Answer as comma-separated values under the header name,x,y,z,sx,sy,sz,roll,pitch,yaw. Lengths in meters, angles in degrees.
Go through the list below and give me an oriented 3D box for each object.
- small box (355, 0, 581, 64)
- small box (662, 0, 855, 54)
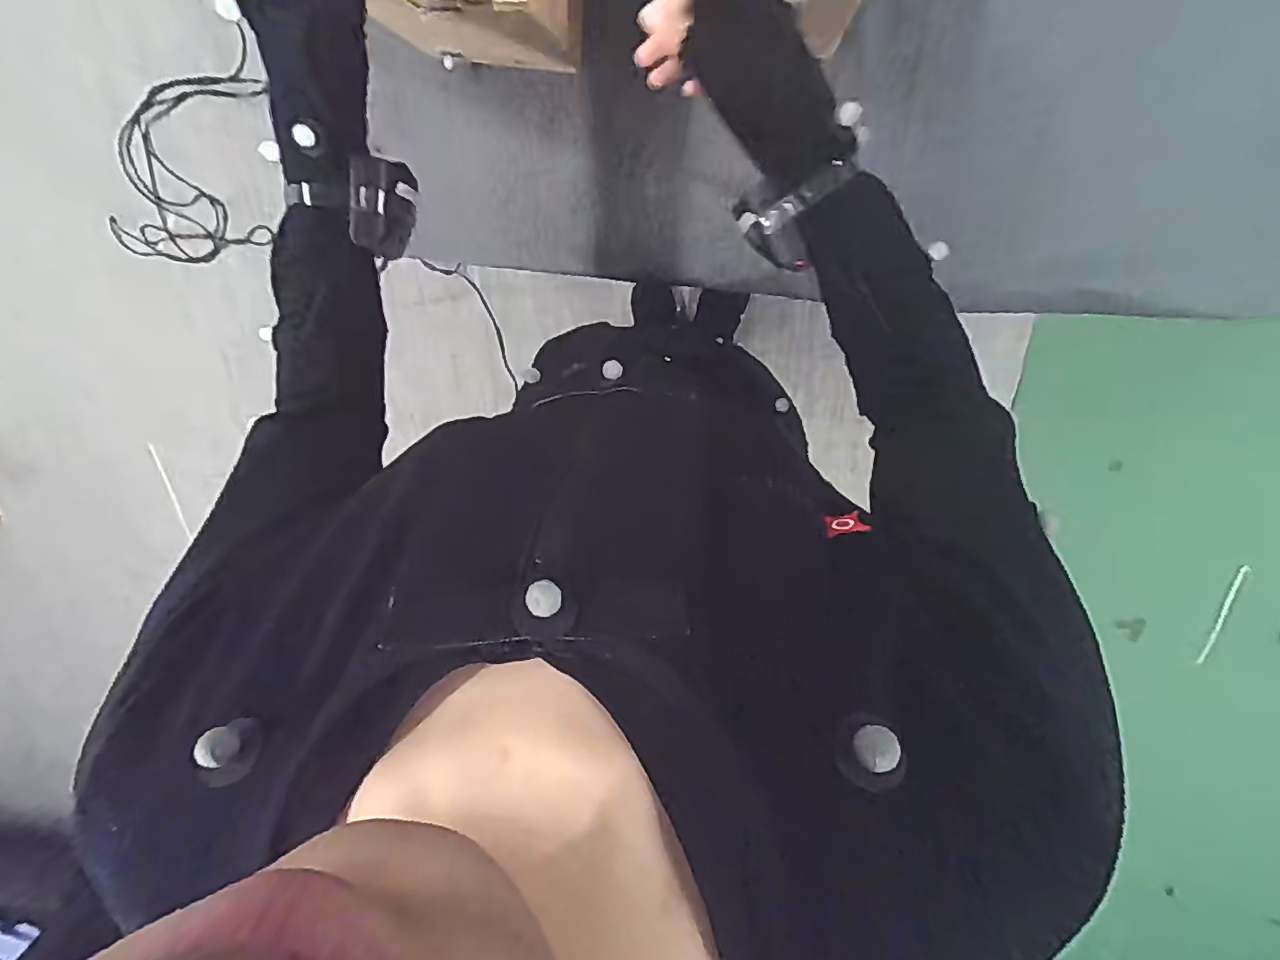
name,x,y,z,sx,sy,sz,roll,pitch,yaw
small box,-0.147,-0.496,0.471,0.168,0.176,0.179,9,113,5
small box,0.102,-0.484,0.441,0.168,0.176,0.179,6,114,6
